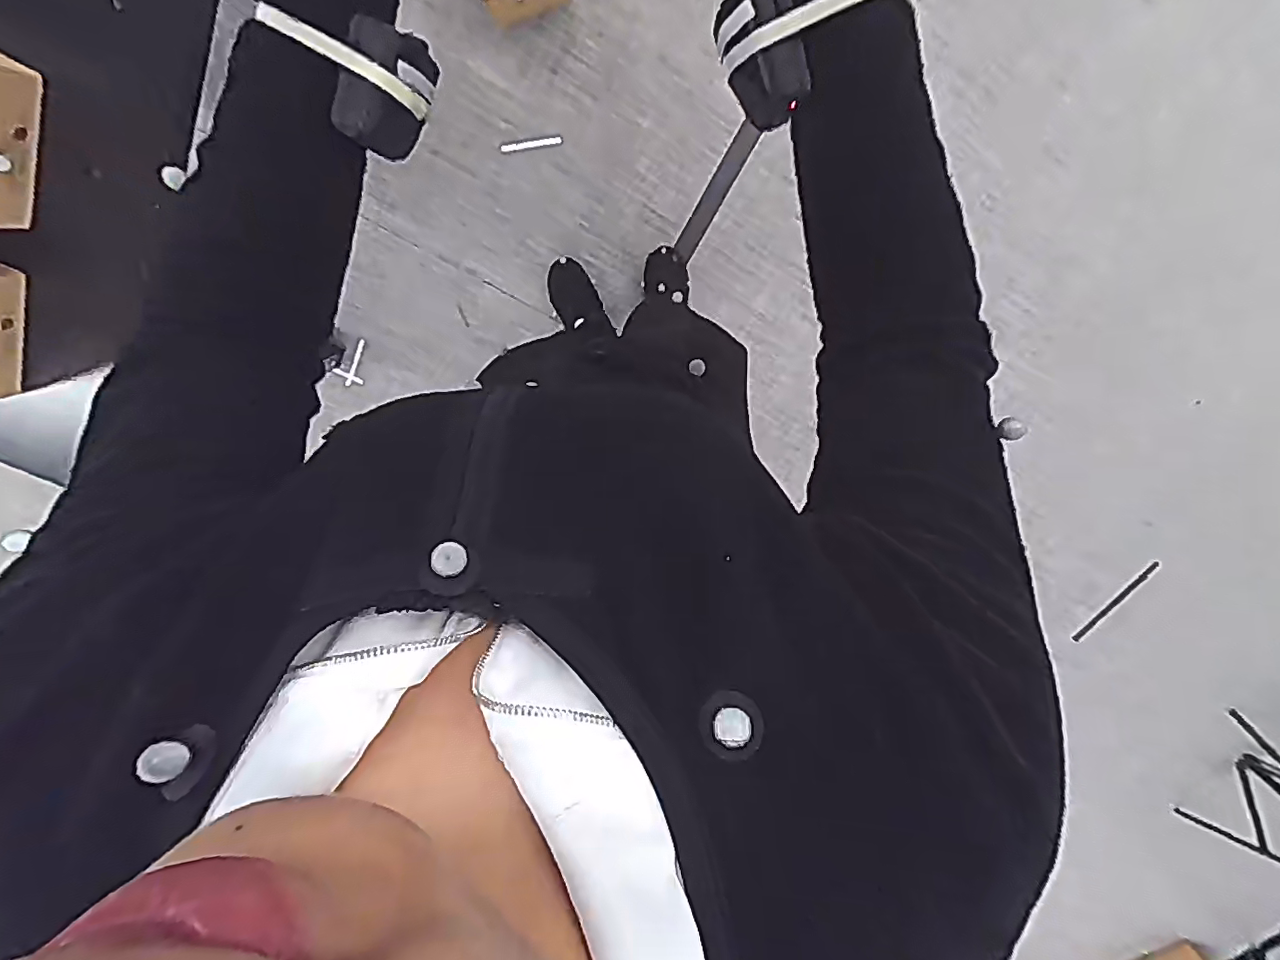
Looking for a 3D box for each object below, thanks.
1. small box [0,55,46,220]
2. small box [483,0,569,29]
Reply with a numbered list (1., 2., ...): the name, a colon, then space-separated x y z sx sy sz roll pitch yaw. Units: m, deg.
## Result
1. small box: -0.726 -0.353 0.494 0.179 0.176 0.168 26 112 -14
2. small box: -0.240 -0.999 1.011 0.168 0.176 0.179 -16 115 6
